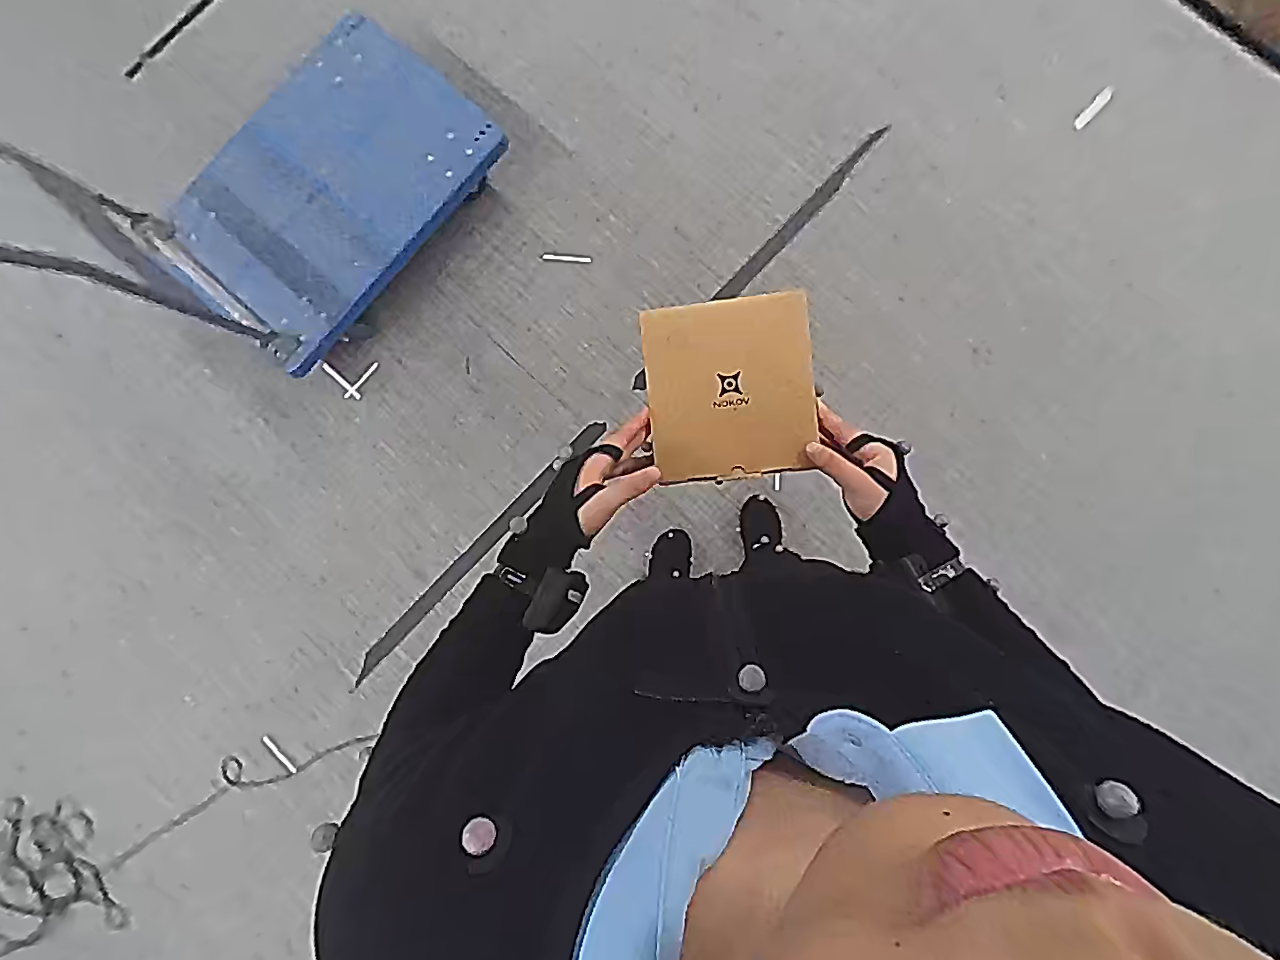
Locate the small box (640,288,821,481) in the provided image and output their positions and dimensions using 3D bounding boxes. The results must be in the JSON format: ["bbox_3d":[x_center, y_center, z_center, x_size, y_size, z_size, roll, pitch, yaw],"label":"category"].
[{"bbox_3d":[0.091,-0.095,0.607,0.168,0.176,0.179,-6,92,4],"label":"small box"}]

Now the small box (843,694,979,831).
[{"bbox_3d":[0.588,0.611,1.196,0.168,0.176,0.179,-42,84,-1],"label":"small box"}]
